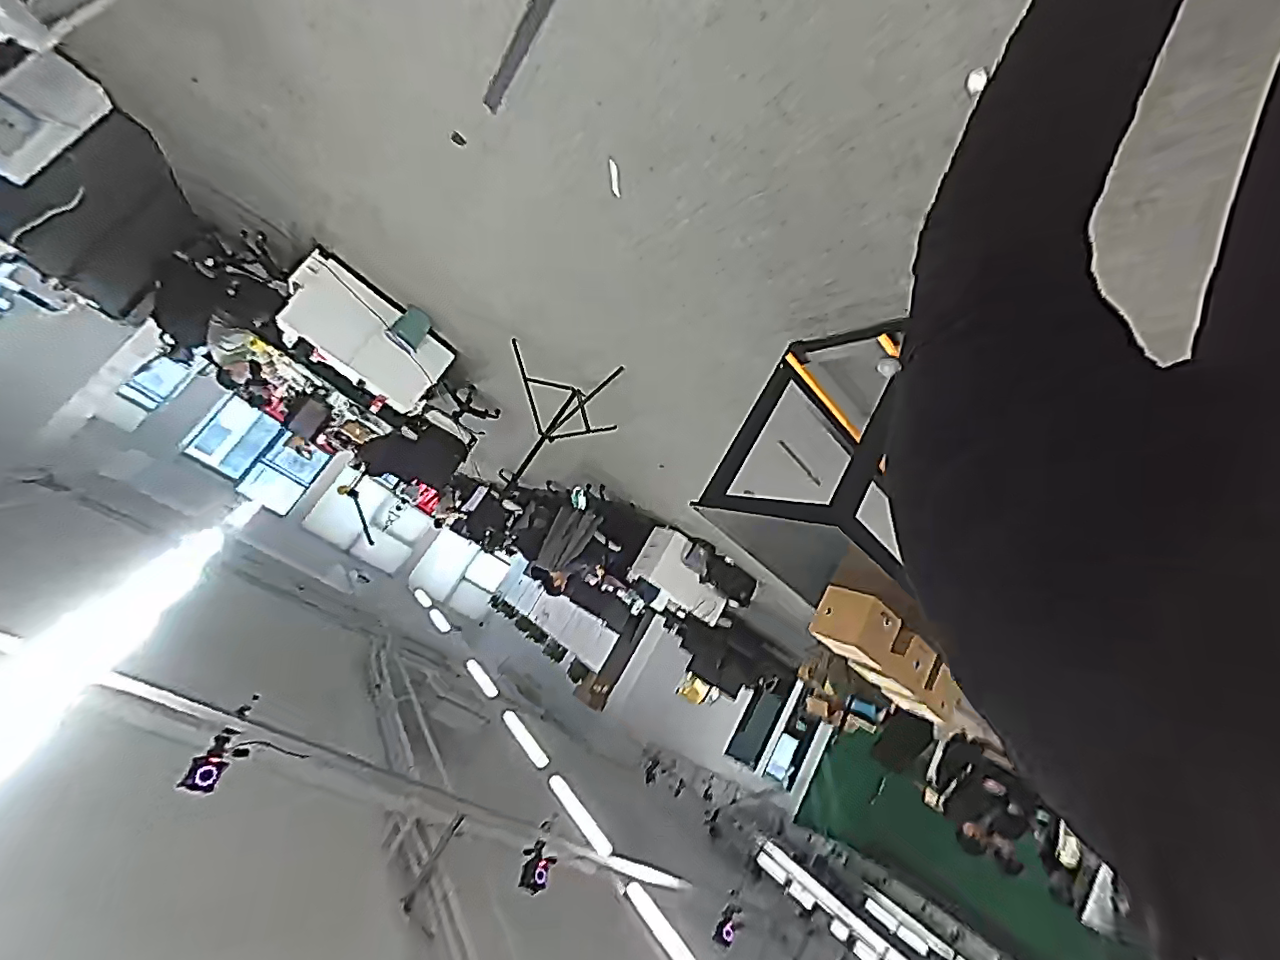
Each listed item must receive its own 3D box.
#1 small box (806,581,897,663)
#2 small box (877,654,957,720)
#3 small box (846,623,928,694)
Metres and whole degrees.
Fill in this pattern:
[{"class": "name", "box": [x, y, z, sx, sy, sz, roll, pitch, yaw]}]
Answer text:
[{"class": "small box", "box": [0.660, 0.434, 1.685, 0.168, 0.176, 0.179, 38, 163, -26]}, {"class": "small box", "box": [0.980, 0.703, 1.901, 0.179, 0.176, 0.168, 40, 163, -27]}, {"class": "small box", "box": [0.825, 0.571, 1.790, 0.168, 0.176, 0.179, 40, 163, -27]}]
